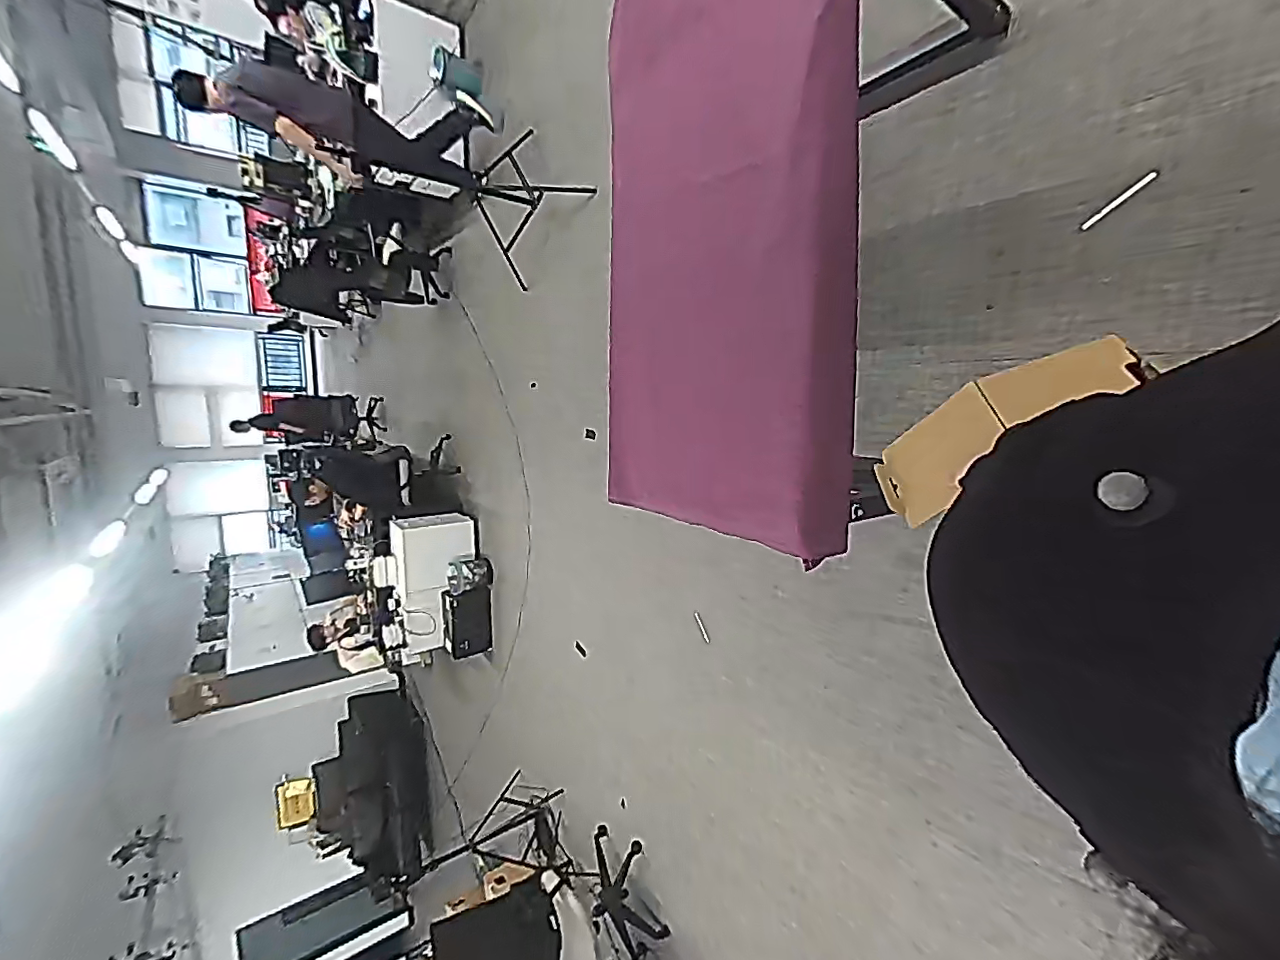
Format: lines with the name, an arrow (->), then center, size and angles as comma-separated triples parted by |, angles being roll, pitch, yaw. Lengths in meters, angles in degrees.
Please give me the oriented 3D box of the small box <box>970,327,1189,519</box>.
small box -> 0.586, -0.069, 0.743 | 0.179, 0.176, 0.168 | -19, 44, 21
